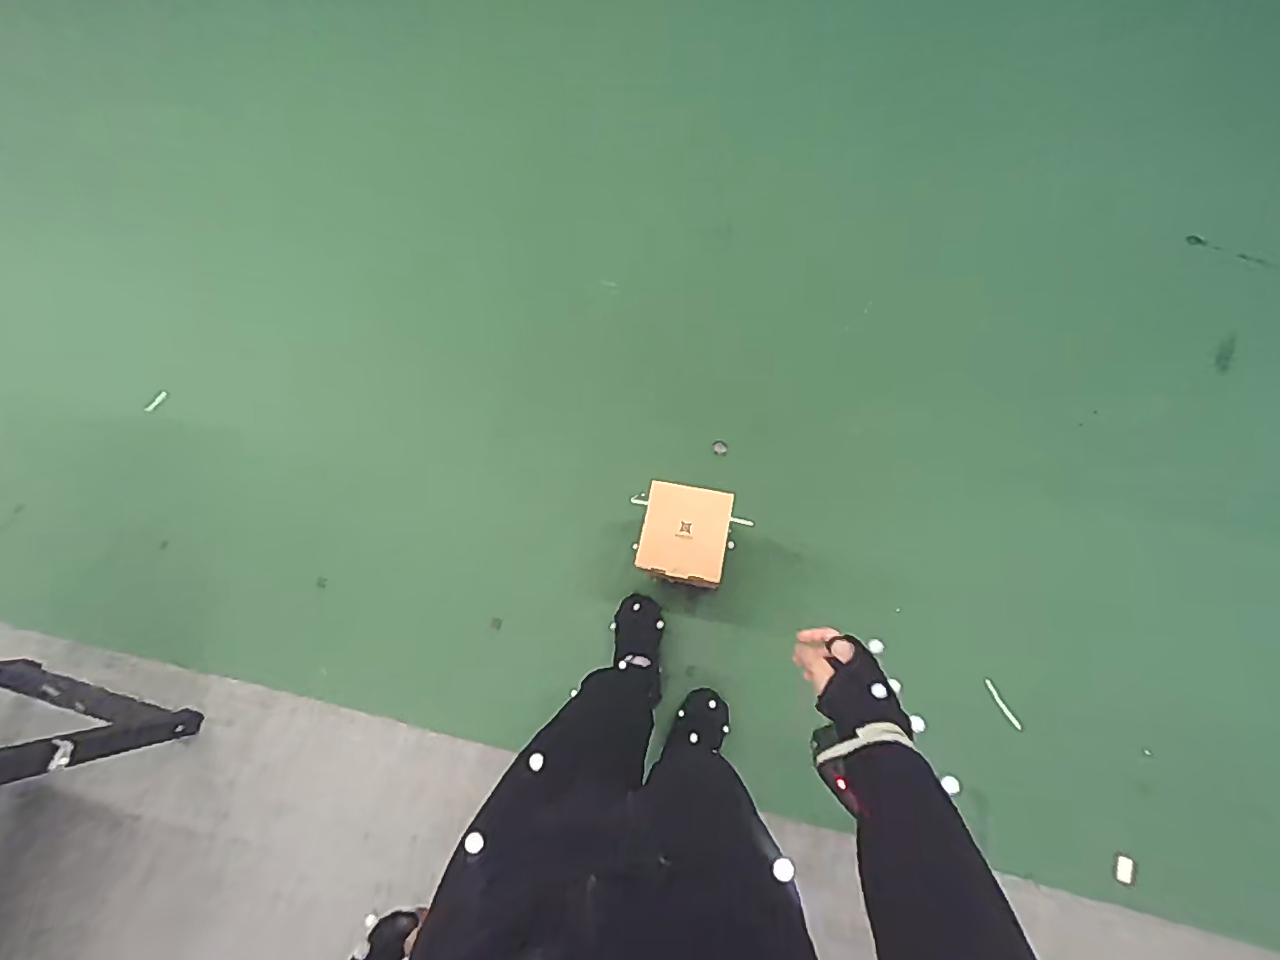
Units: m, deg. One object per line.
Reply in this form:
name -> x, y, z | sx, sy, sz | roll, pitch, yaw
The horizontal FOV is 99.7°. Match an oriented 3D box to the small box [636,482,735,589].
small box -> 0.092, 0.121, 1.116 | 0.168, 0.176, 0.179 | 11, 77, 7
